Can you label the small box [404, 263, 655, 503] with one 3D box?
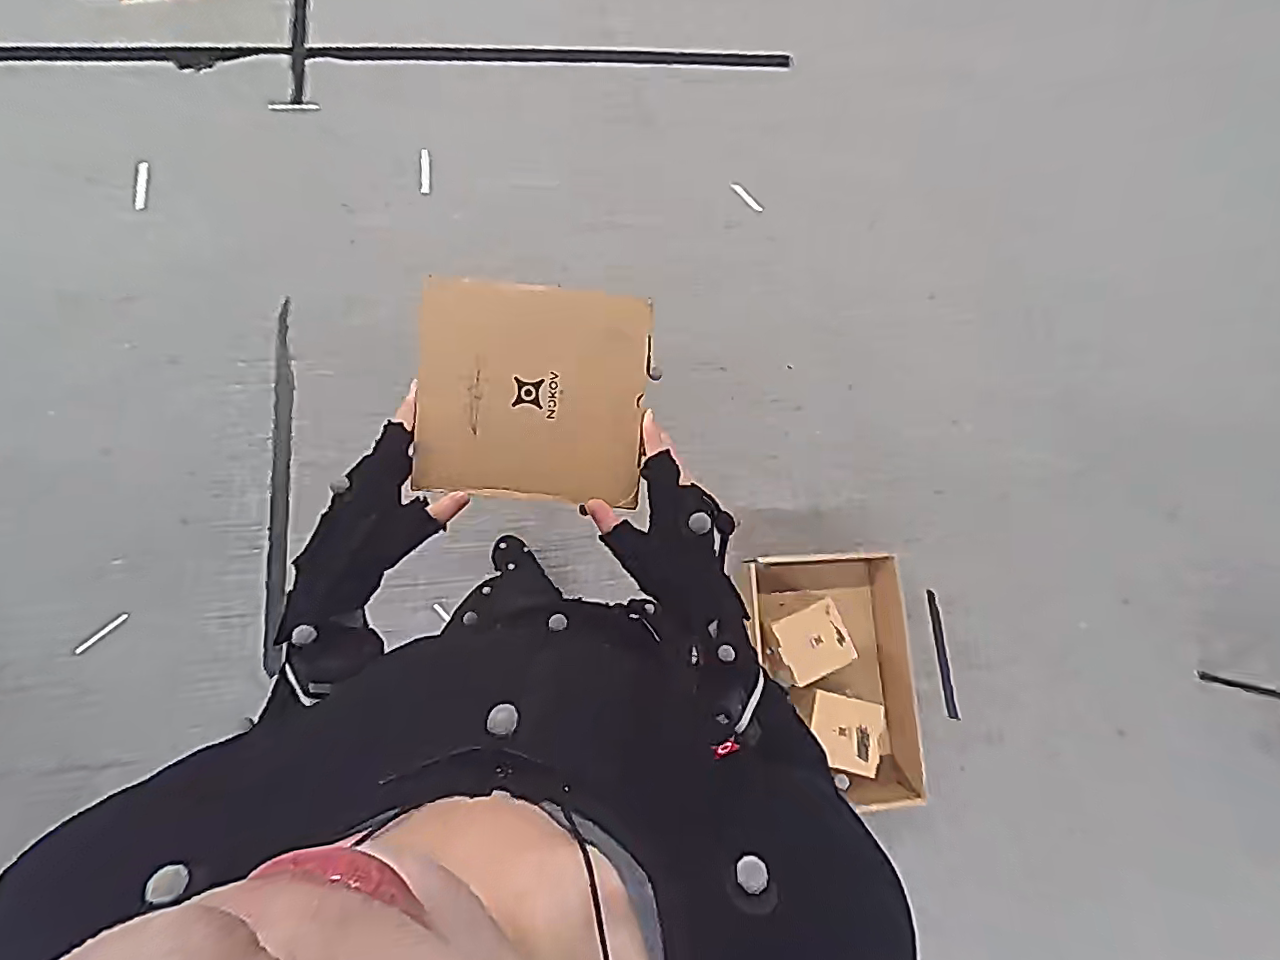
[{"bbox_3d":[-0.084,-0.071,0.477,0.179,0.176,0.168,4,90,-2],"label":"small box"}]
